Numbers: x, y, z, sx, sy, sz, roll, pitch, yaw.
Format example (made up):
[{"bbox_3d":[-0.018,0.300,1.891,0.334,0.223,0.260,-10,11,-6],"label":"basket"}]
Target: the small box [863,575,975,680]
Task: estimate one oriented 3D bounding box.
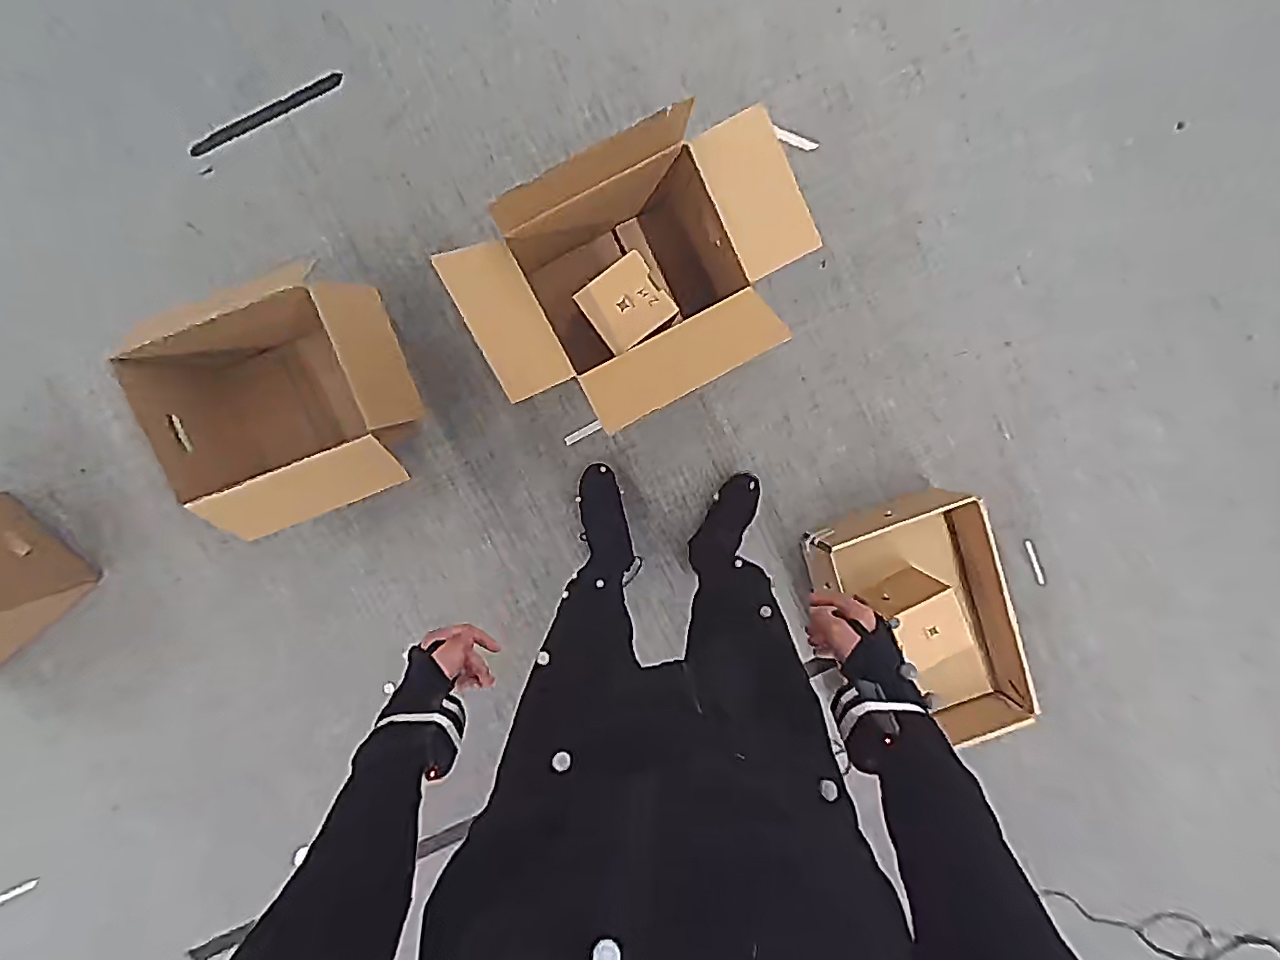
[{"bbox_3d":[0.692,0.365,1.366,0.179,0.176,0.168,-25,99,0],"label":"small box"}]
